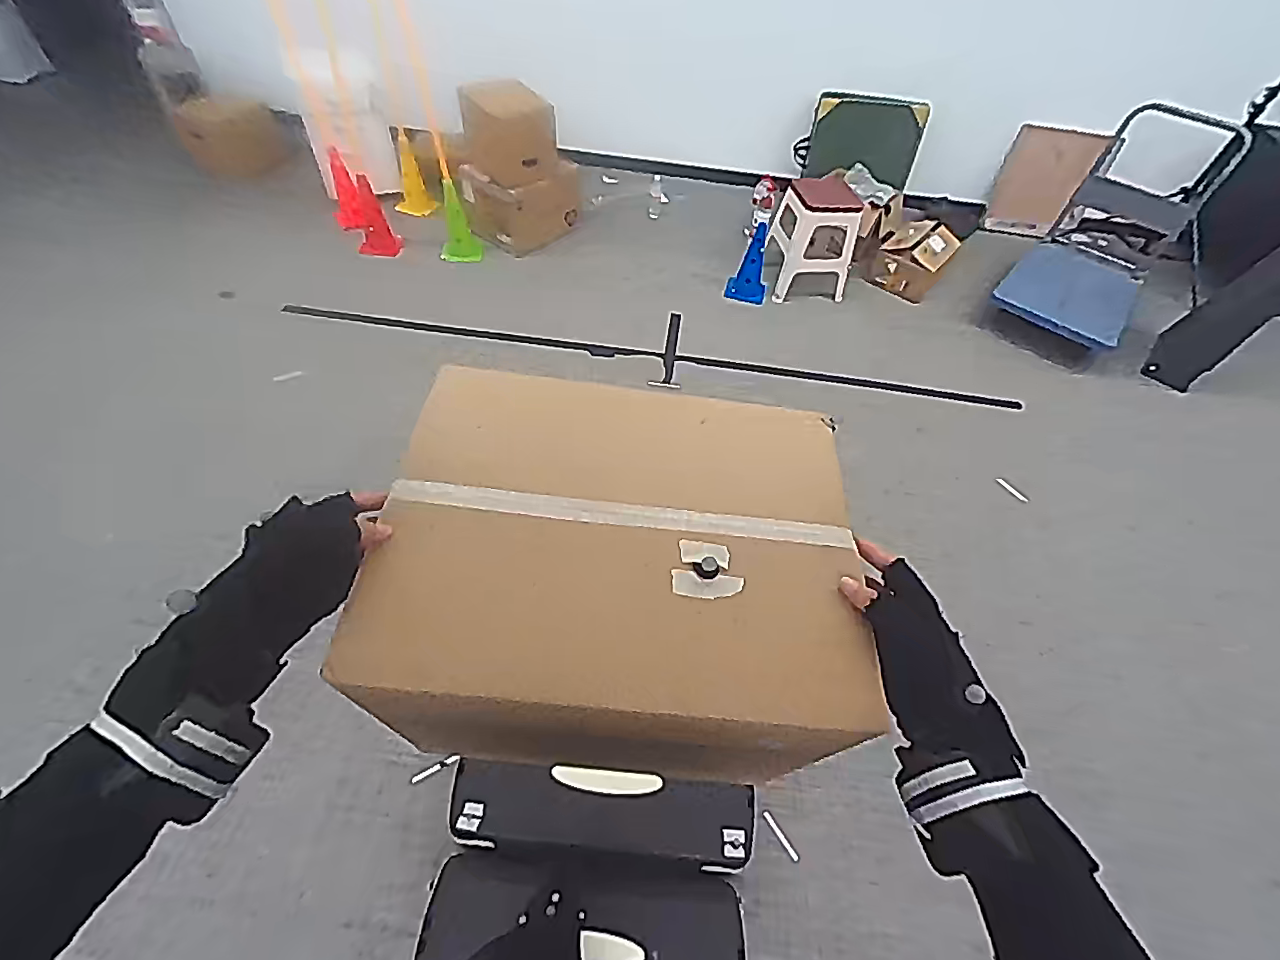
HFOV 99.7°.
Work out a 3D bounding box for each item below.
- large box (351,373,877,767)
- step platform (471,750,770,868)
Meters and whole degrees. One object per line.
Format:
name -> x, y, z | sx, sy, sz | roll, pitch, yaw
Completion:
large box -> -0.025, 0.118, 0.605 | 0.408, 0.320, 0.320 | 7, 55, -4
step platform -> -0.041, 0.720, 1.288 | 0.684, 0.204, 0.286 | 7, 51, -2
